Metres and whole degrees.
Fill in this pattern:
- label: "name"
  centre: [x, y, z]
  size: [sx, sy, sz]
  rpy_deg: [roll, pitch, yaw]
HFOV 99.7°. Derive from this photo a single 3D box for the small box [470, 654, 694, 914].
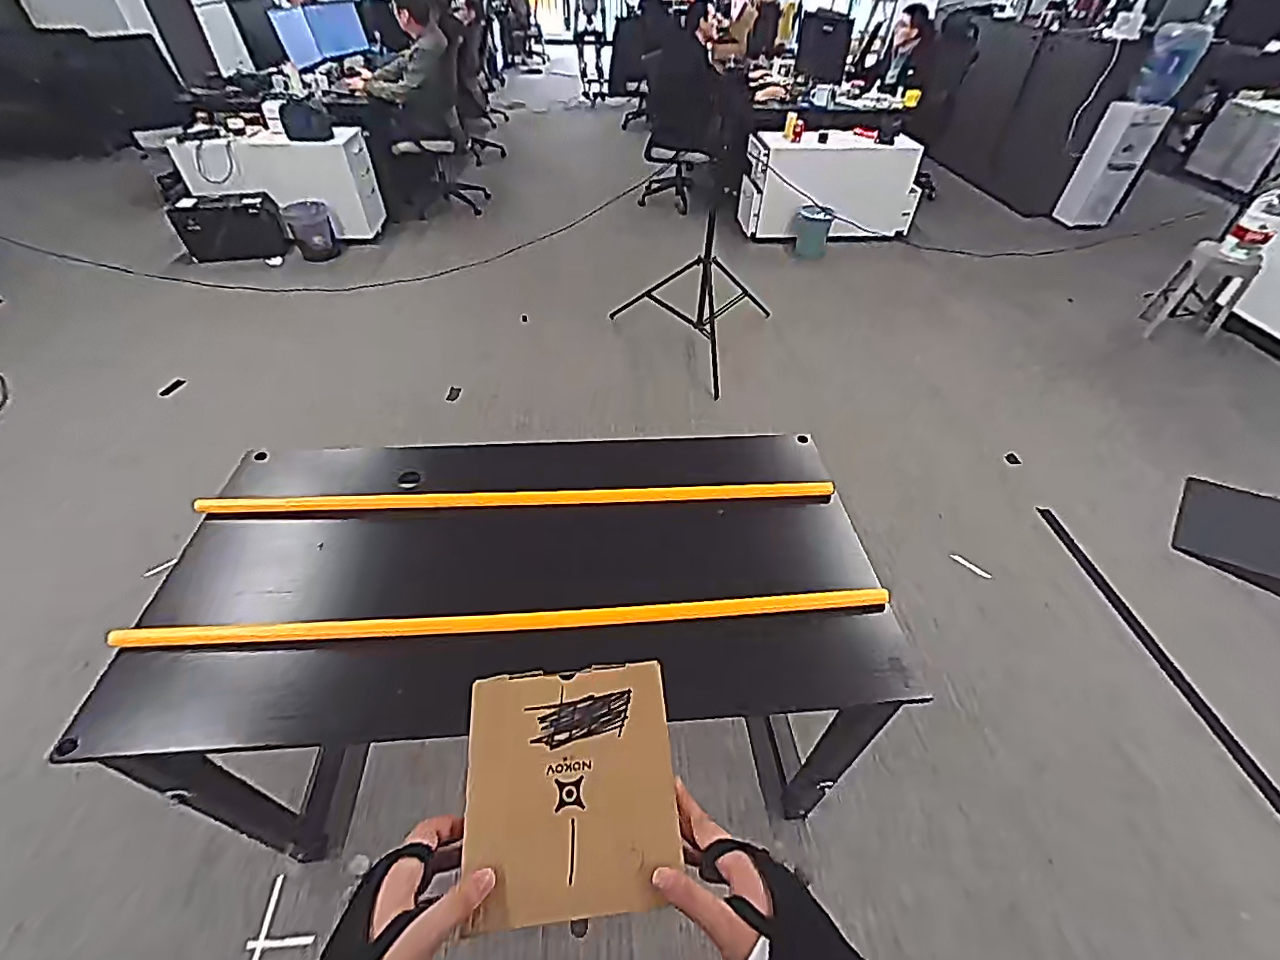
- label: "small box"
  centre: [-0.051, 0.281, 0.504]
  size: [0.168, 0.176, 0.179]
  rpy_deg: [-5, 55, -4]
